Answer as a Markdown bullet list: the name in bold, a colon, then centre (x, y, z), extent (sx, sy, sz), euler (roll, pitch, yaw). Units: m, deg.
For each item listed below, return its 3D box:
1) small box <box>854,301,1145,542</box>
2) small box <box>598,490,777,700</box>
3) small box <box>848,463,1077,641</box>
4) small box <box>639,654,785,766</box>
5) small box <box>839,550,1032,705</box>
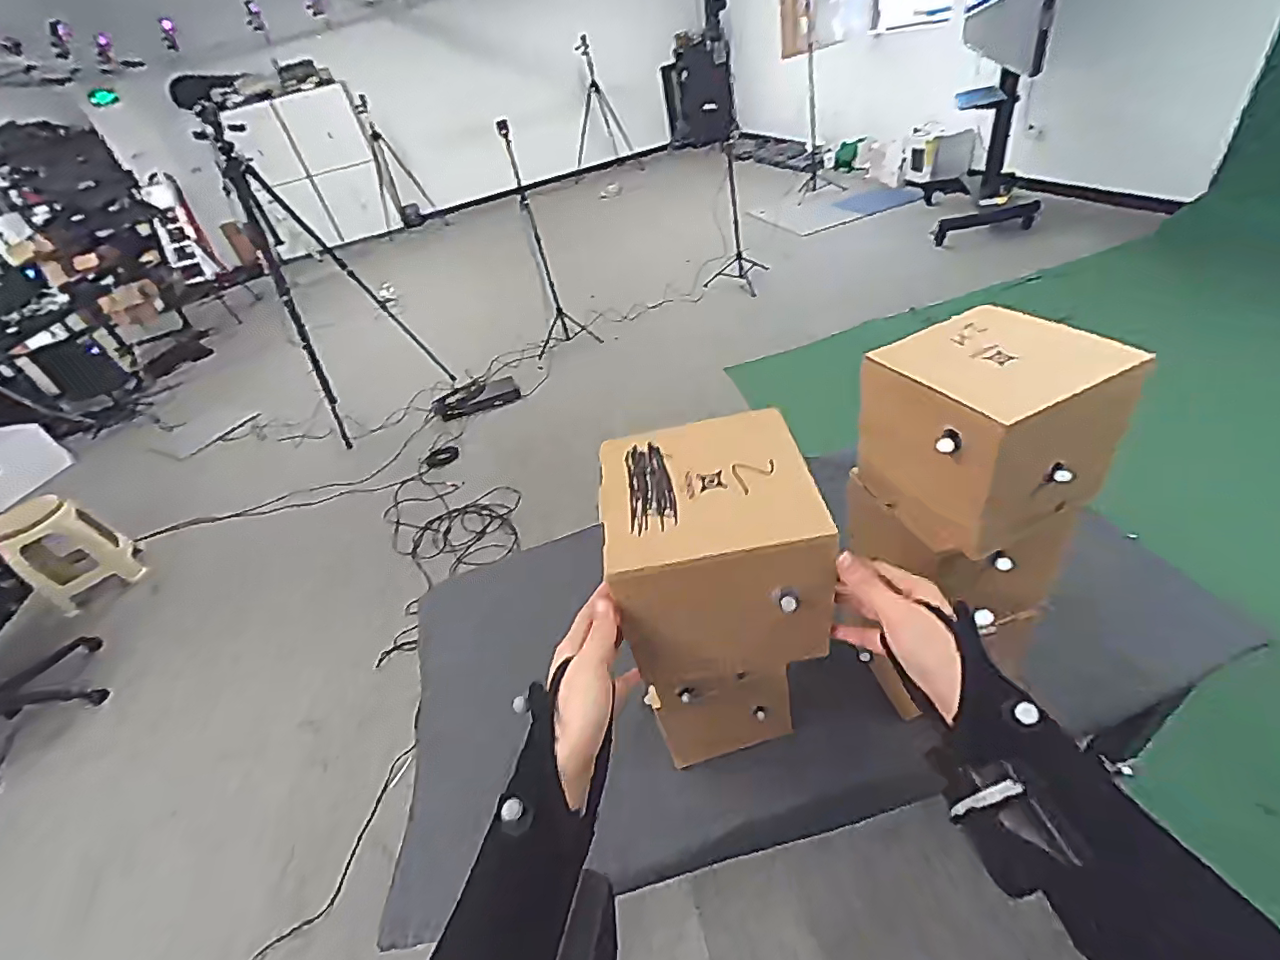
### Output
- **small box**: centre (0.348, -0.058, 0.563), extent (0.168, 0.176, 0.179), euler (-24, 38, -10)
- **small box**: centre (0.060, 0.148, 0.680), extent (0.168, 0.176, 0.179), euler (-19, 36, -5)
- **small box**: centre (0.375, 0.066, 0.669), extent (0.179, 0.176, 0.168), euler (-19, 37, -3)
- **small box**: centre (0.097, 0.274, 0.778), extent (0.179, 0.176, 0.168), euler (-19, 37, -2)
- **small box**: centre (0.402, 0.194, 0.767), extent (0.168, 0.176, 0.179), euler (-18, 38, -1)
